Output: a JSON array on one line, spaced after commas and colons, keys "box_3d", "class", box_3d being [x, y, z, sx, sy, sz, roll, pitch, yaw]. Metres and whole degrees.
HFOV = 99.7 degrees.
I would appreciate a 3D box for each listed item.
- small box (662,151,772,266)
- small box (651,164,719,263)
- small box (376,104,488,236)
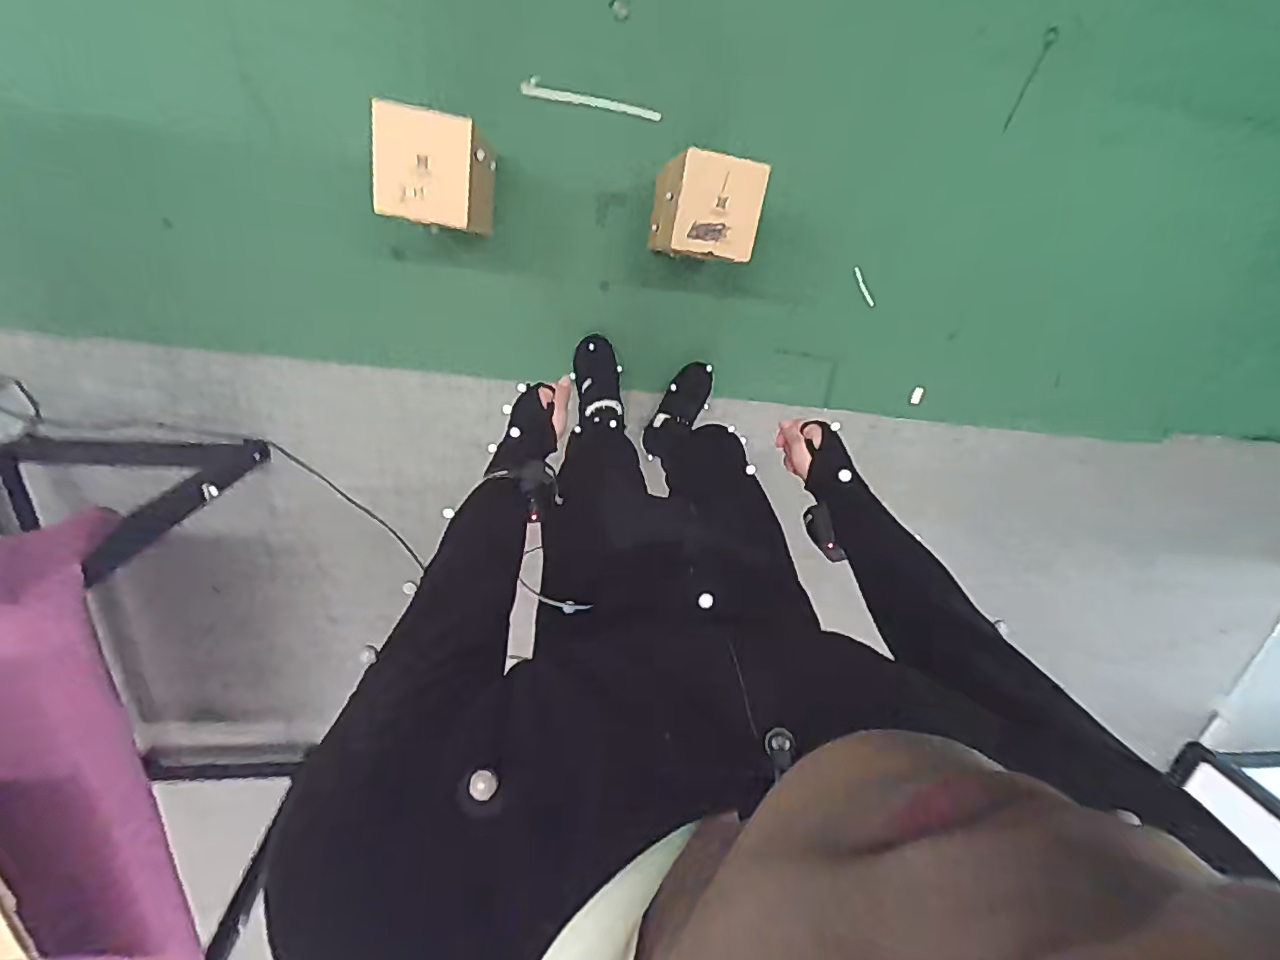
[{"box_3d": [0.147, -0.547, 1.108, 0.168, 0.176, 0.179, 6, 112, -11], "class": "small box"}, {"box_3d": [0.127, -0.611, 1.258, 0.168, 0.176, 0.179, 5, 112, -10], "class": "small box"}, {"box_3d": [-0.388, -0.575, 1.028, 0.168, 0.176, 0.179, 7, 111, -9], "class": "small box"}]
